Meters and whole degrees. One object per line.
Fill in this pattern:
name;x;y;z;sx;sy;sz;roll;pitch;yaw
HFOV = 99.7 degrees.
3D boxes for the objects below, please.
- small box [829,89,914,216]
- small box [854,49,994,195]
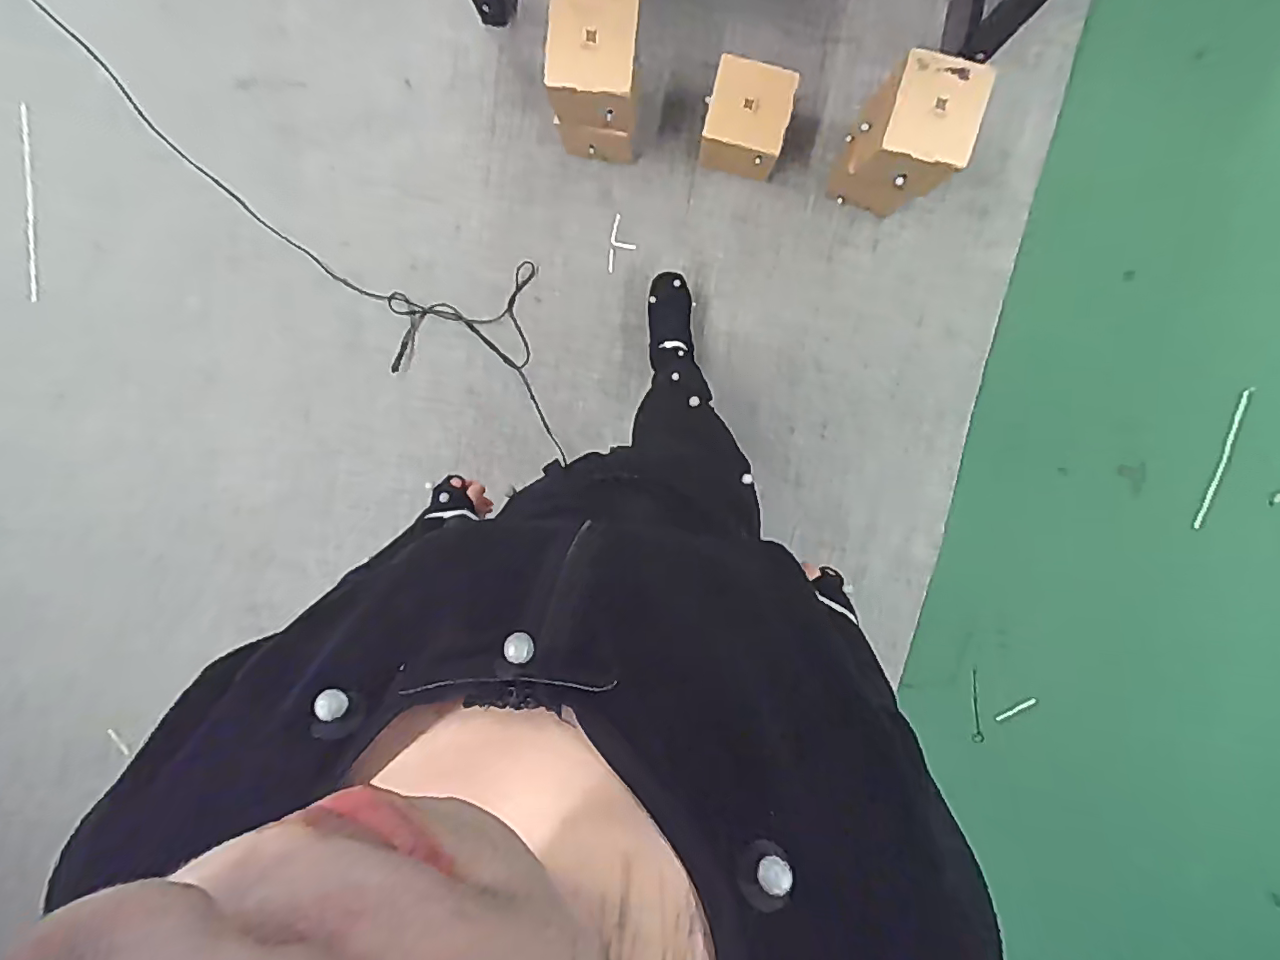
small box;0.554;-0.736;1.238;0.168;0.176;0.179;19;100;-1
small box;0.549;-0.698;1.077;0.168;0.176;0.179;15;102;-1
